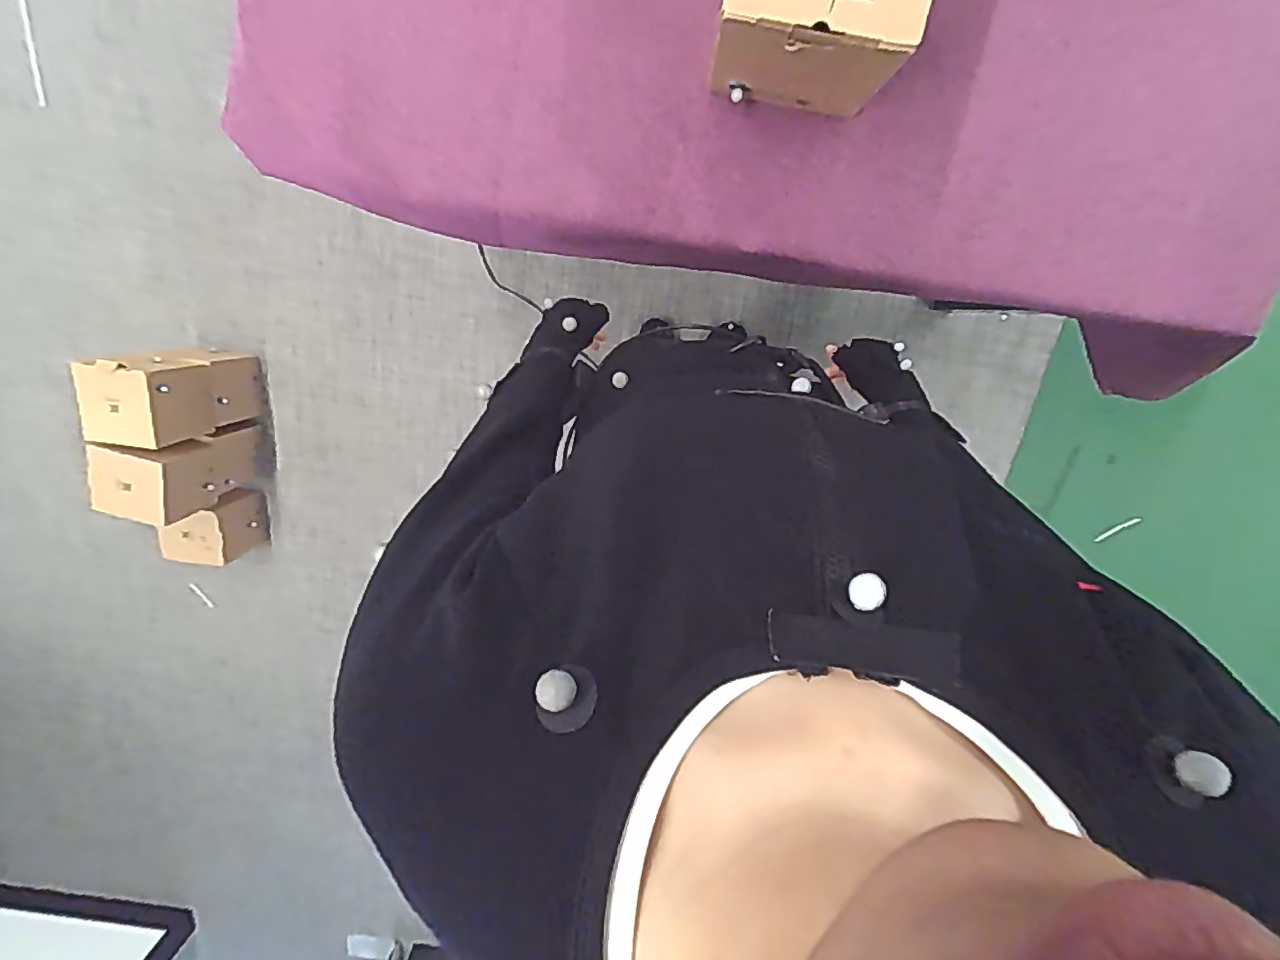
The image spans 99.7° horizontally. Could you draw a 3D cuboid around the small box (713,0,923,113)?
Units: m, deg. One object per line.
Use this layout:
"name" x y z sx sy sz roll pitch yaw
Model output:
"small box" 0.166 -0.475 0.502 0.168 0.176 0.179 11 107 0
